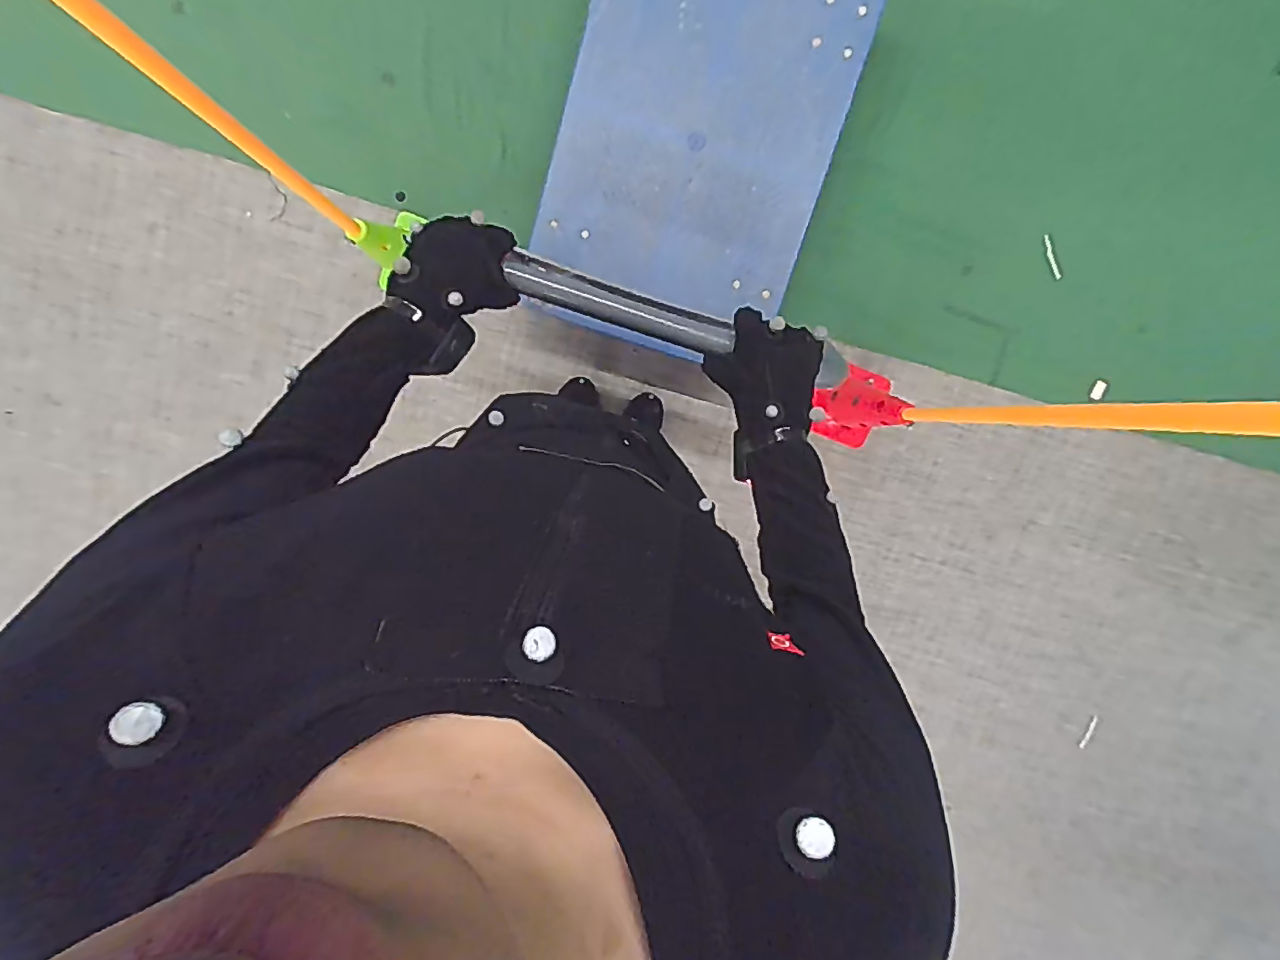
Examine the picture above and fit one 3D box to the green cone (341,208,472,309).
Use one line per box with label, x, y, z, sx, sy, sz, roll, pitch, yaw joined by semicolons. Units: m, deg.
green cone;-0.541;-0.524;1.196;0.202;0.368;0.200;20;100;-4
